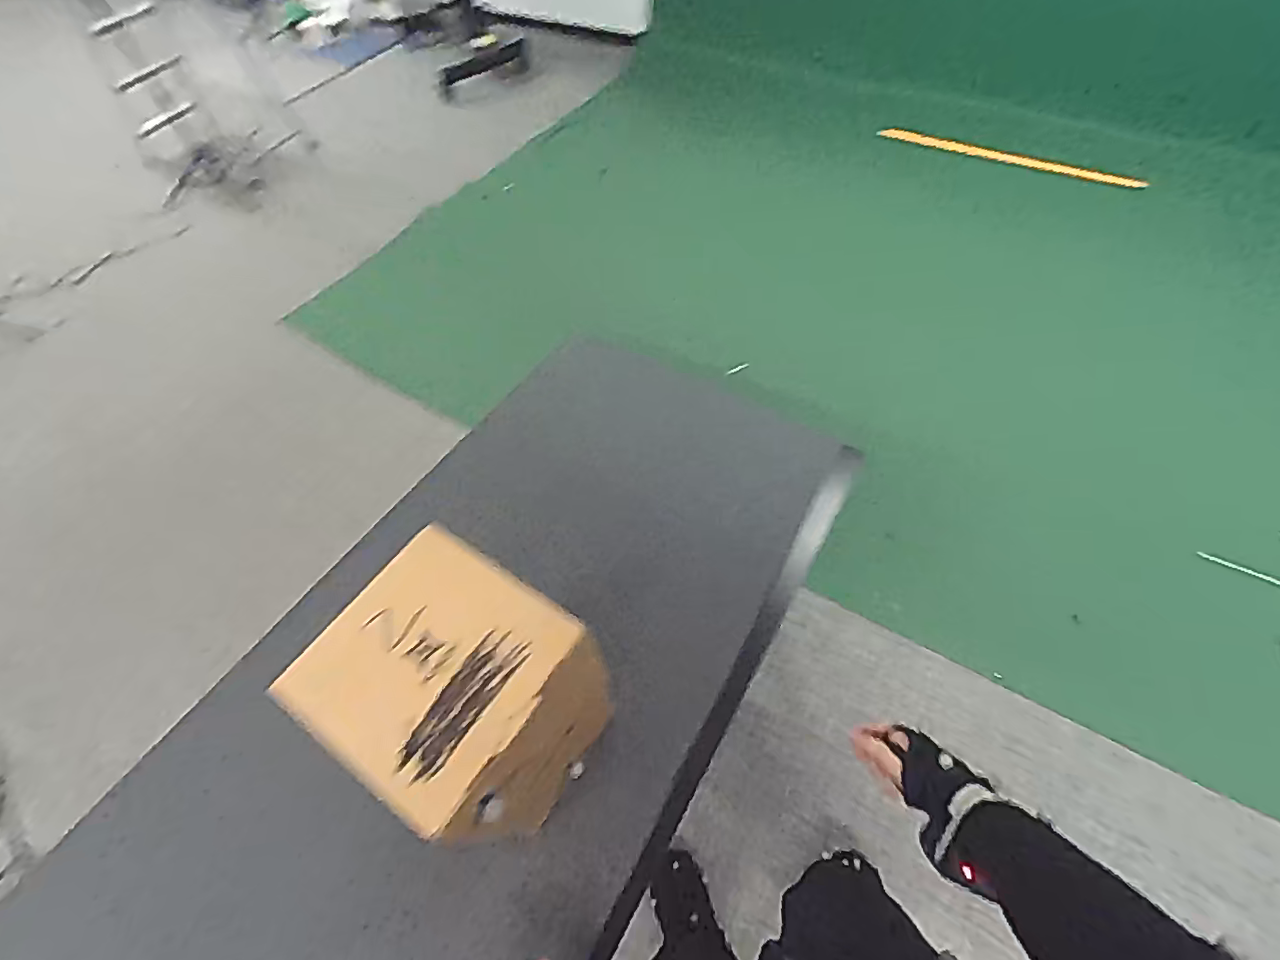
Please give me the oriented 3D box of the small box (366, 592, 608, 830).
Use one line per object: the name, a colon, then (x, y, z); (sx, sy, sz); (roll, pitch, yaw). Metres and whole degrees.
small box: (-0.154, 0.263, 0.605); (0.179, 0.176, 0.168); (27, 61, 20)
